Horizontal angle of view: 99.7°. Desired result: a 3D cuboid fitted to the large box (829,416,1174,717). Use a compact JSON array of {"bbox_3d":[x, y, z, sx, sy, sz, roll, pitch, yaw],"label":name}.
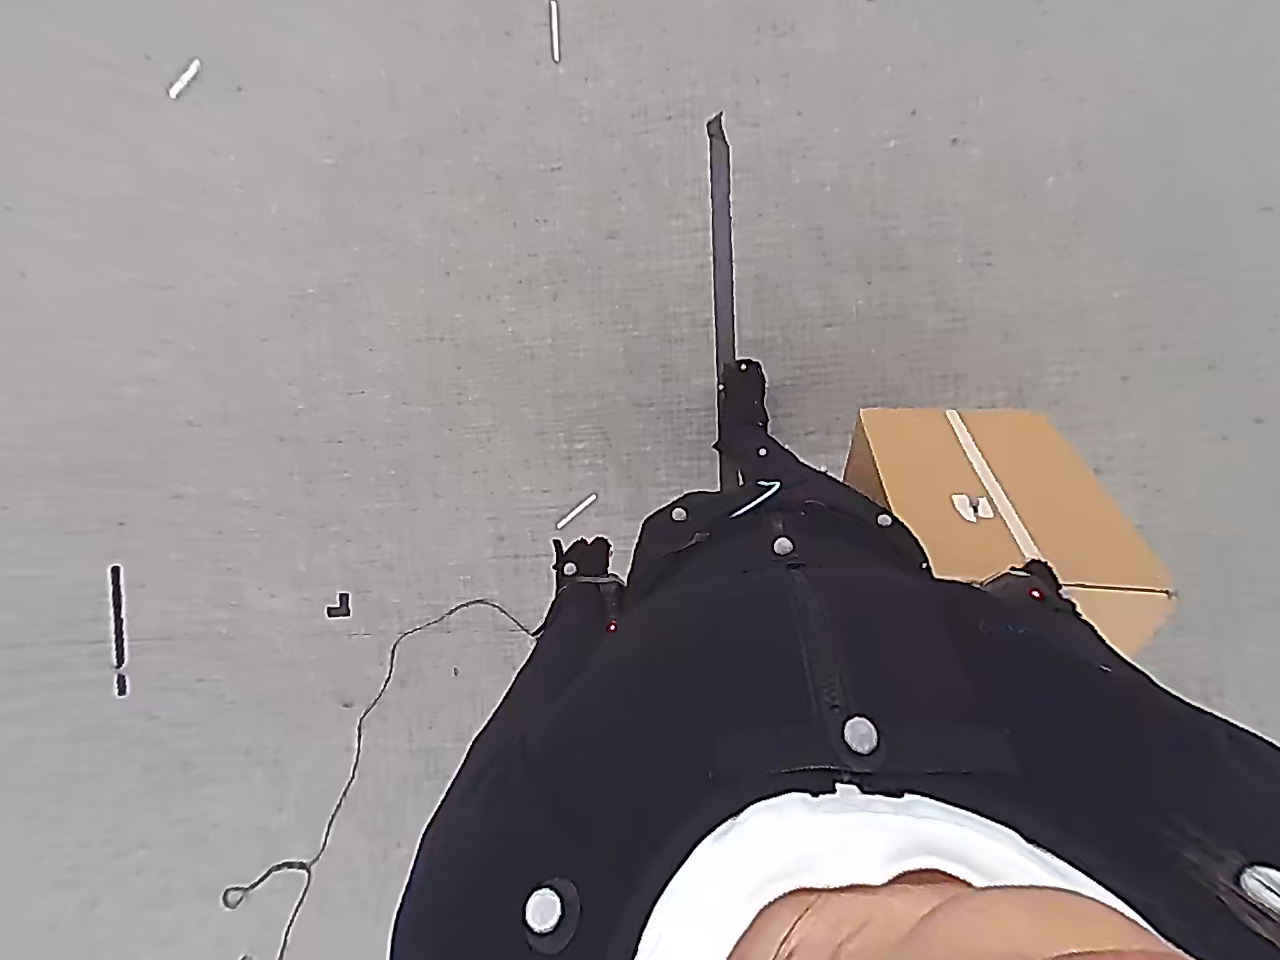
[{"bbox_3d":[0.535,0.129,0.925,0.320,0.408,0.320,1,130,8],"label":"large box"}]
